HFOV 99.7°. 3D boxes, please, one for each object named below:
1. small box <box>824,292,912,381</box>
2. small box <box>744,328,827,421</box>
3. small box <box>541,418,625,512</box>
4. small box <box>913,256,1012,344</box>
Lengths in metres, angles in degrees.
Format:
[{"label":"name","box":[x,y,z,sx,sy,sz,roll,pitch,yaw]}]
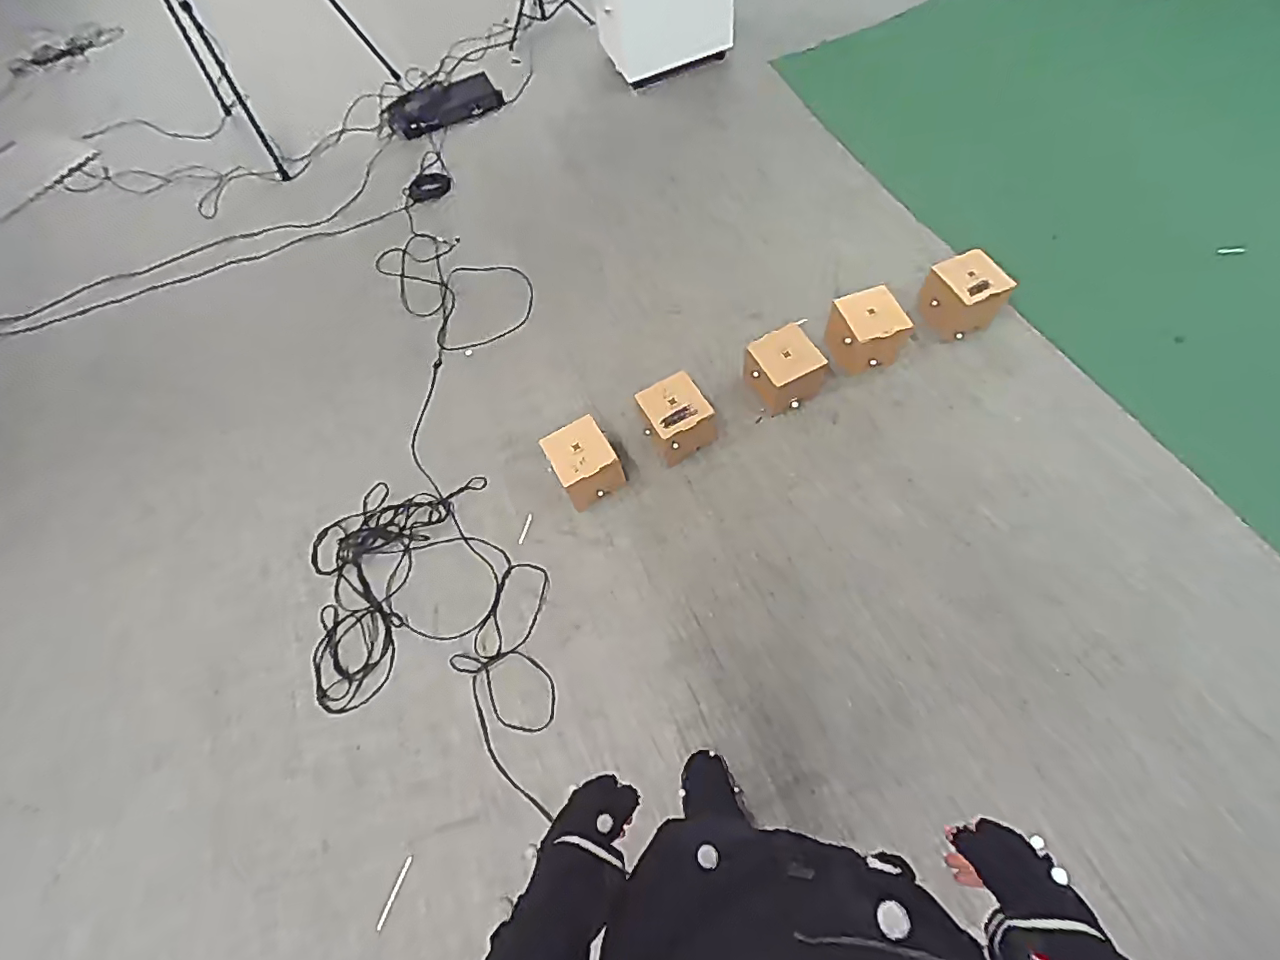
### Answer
[{"label":"small box","box":[0.680,-0.432,1.641,0.168,0.176,0.179,-18,63,-2]},{"label":"small box","box":[0.424,-0.310,1.611,0.168,0.176,0.179,-27,65,-5]},{"label":"small box","box":[-0.159,-0.037,1.546,0.168,0.176,0.179,-29,64,-7]},{"label":"small box","box":[0.979,-0.542,1.659,0.168,0.176,0.179,-22,62,-4]}]
